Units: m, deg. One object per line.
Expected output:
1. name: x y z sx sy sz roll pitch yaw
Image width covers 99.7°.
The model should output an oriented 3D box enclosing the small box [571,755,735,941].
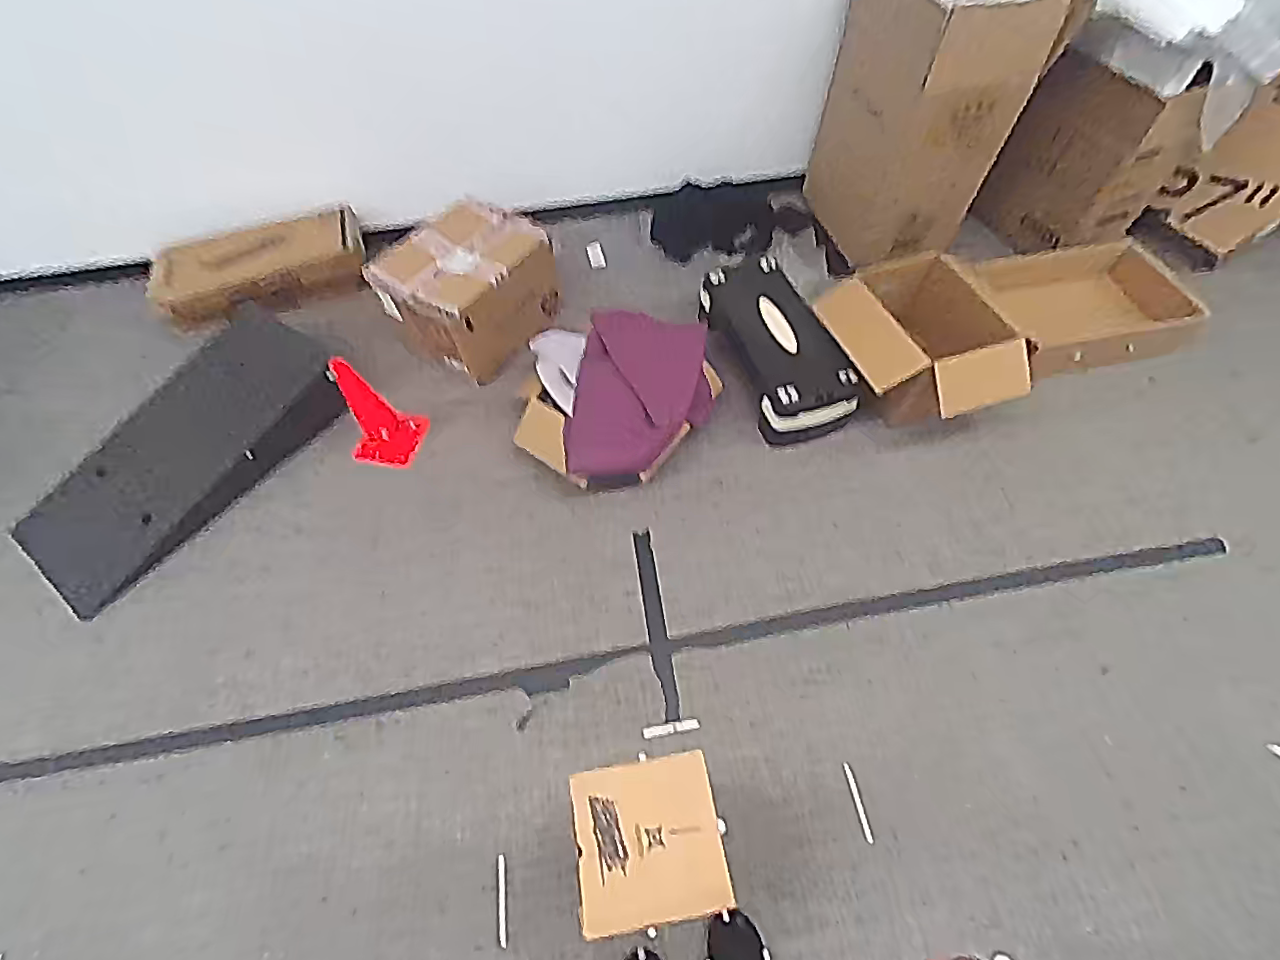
1. small box: 0.015 0.474 0.710 0.179 0.176 0.168 -9 58 -3
